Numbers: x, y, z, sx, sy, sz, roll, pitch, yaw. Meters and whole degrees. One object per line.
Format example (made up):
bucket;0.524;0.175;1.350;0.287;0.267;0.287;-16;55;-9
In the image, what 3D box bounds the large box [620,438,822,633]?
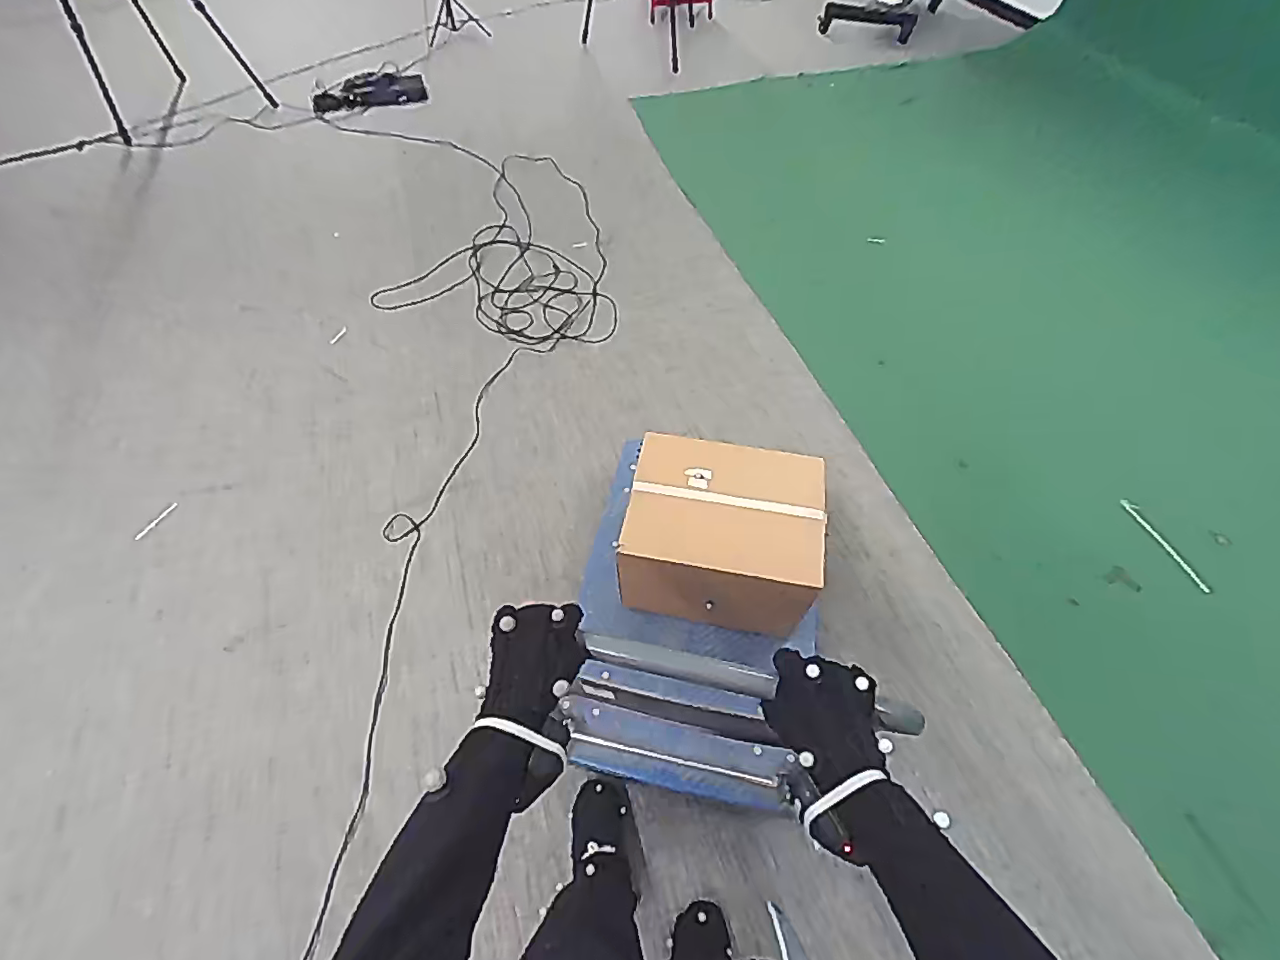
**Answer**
large box;0.186;0.136;1.263;0.408;0.320;0.320;9;56;7
